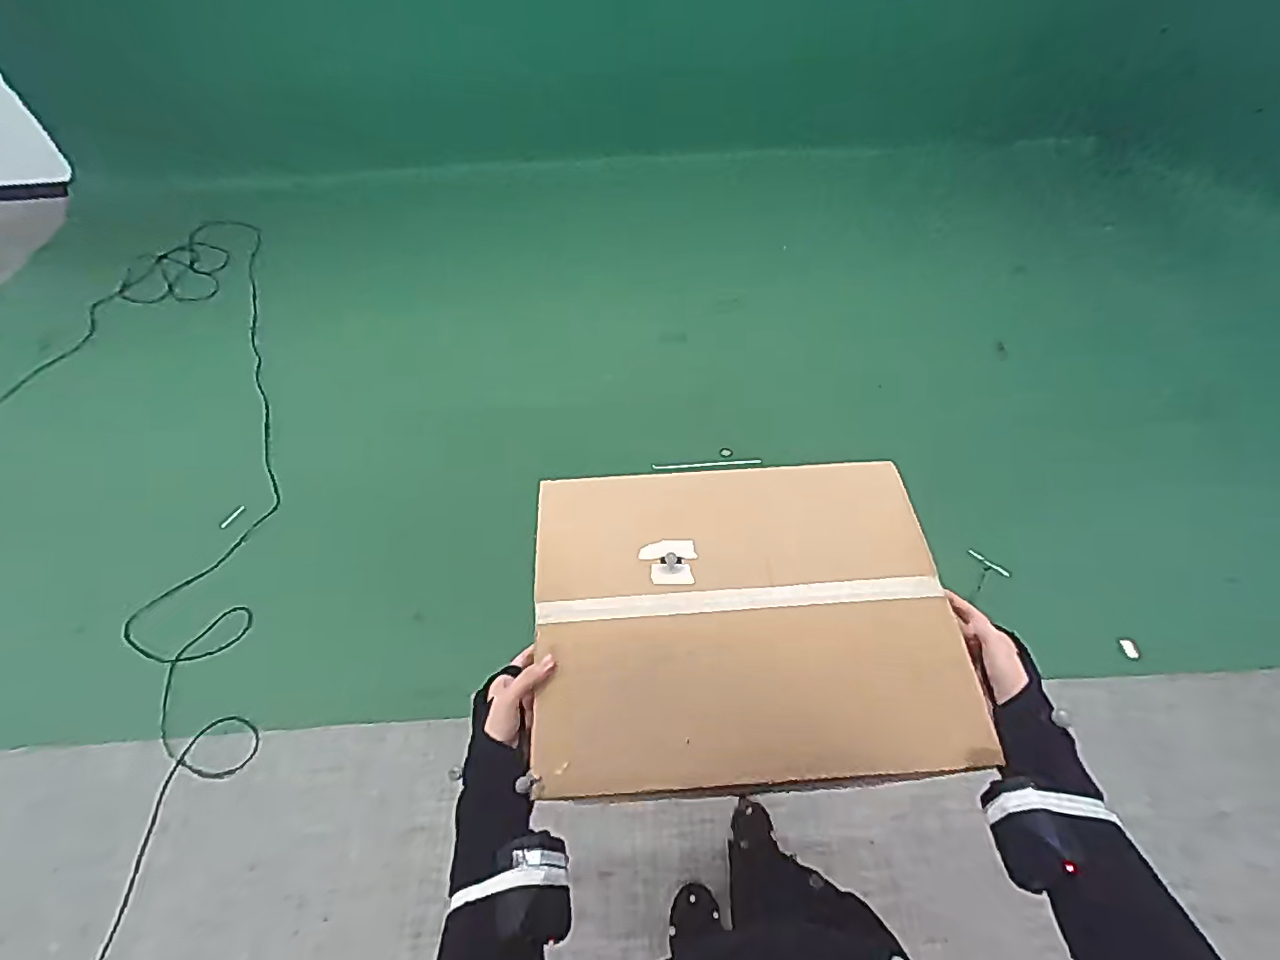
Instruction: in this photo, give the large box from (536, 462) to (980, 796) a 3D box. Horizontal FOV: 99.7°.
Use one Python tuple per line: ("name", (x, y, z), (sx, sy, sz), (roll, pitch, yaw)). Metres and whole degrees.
("large box", (0.102, 0.201, 0.679), (0.408, 0.320, 0.320), (-4, 57, 0))
